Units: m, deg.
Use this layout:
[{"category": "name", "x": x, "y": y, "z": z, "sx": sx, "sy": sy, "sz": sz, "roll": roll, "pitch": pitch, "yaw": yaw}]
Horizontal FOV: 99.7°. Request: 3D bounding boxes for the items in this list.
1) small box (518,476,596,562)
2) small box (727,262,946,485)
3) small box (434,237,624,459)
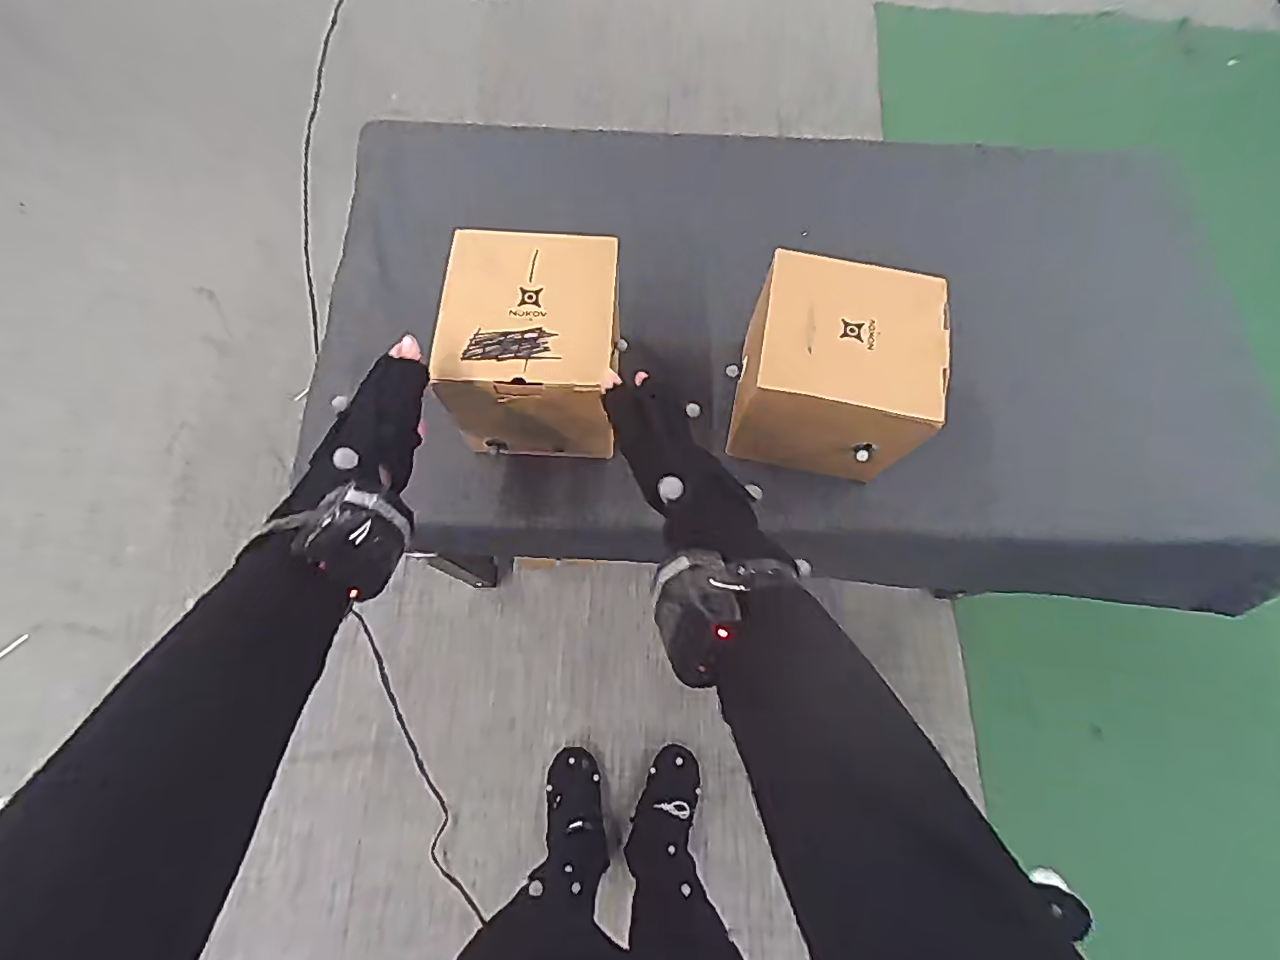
[{"category": "small box", "x": -0.193, "y": 0.099, "z": 1.286, "sx": 0.168, "sy": 0.176, "sz": 0.179, "roll": -2, "pitch": 72, "yaw": -3}, {"category": "small box", "x": 0.206, "y": -0.105, "z": 0.599, "sx": 0.179, "sy": 0.176, "sz": 0.168, "roll": 11, "pitch": 70, "yaw": 3}, {"category": "small box", "x": -0.105, "y": -0.134, "z": 0.595, "sx": 0.168, "sy": 0.176, "sz": 0.179, "roll": 4, "pitch": 70, "yaw": -1}]
